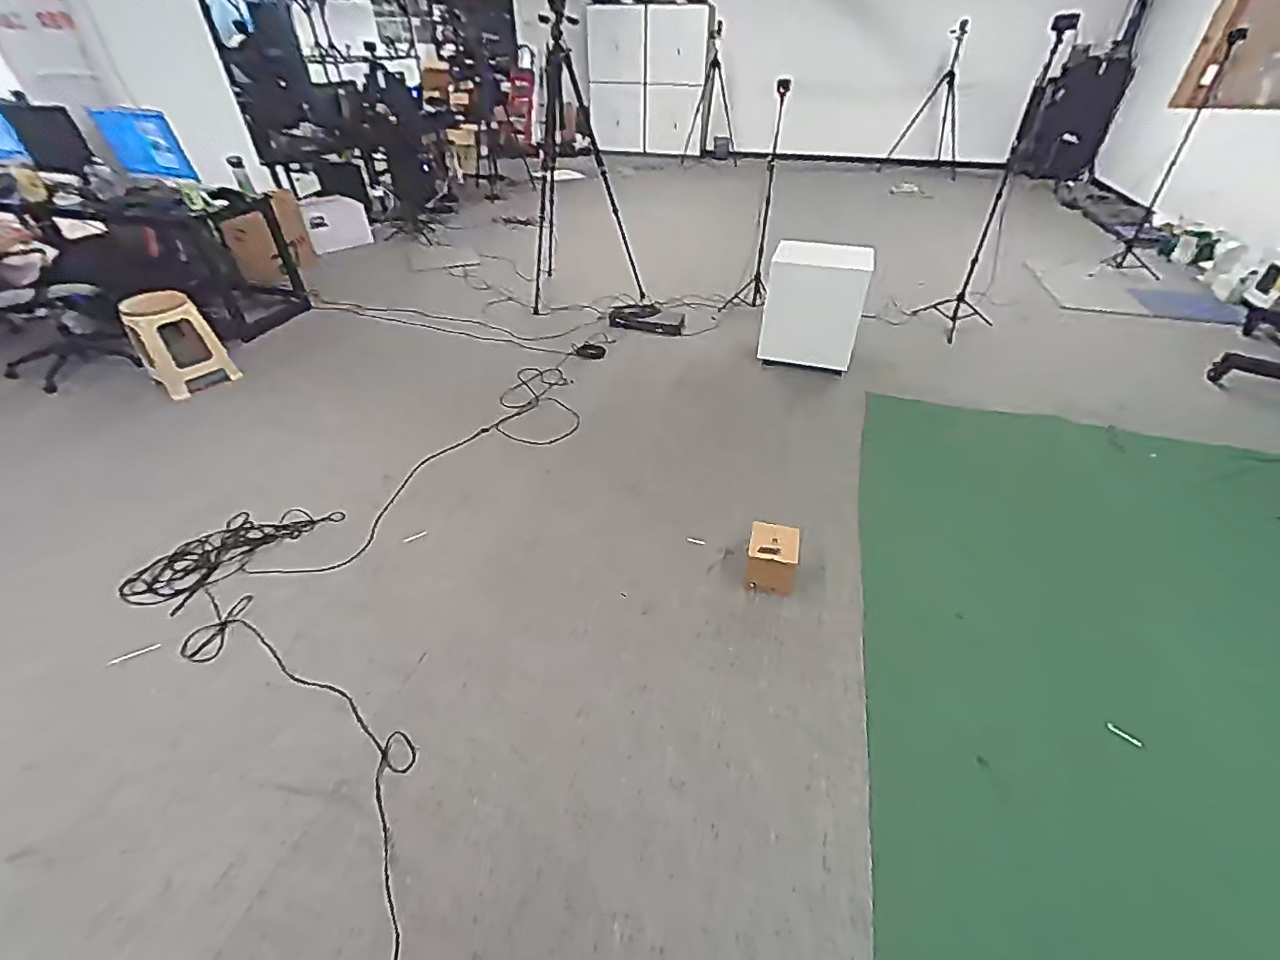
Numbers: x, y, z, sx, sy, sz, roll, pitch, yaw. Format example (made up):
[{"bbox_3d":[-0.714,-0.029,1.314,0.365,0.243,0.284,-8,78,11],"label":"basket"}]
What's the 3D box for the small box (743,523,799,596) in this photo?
[{"bbox_3d":[0.461,0.281,1.906,0.168,0.176,0.179,10,40,11],"label":"small box"}]
